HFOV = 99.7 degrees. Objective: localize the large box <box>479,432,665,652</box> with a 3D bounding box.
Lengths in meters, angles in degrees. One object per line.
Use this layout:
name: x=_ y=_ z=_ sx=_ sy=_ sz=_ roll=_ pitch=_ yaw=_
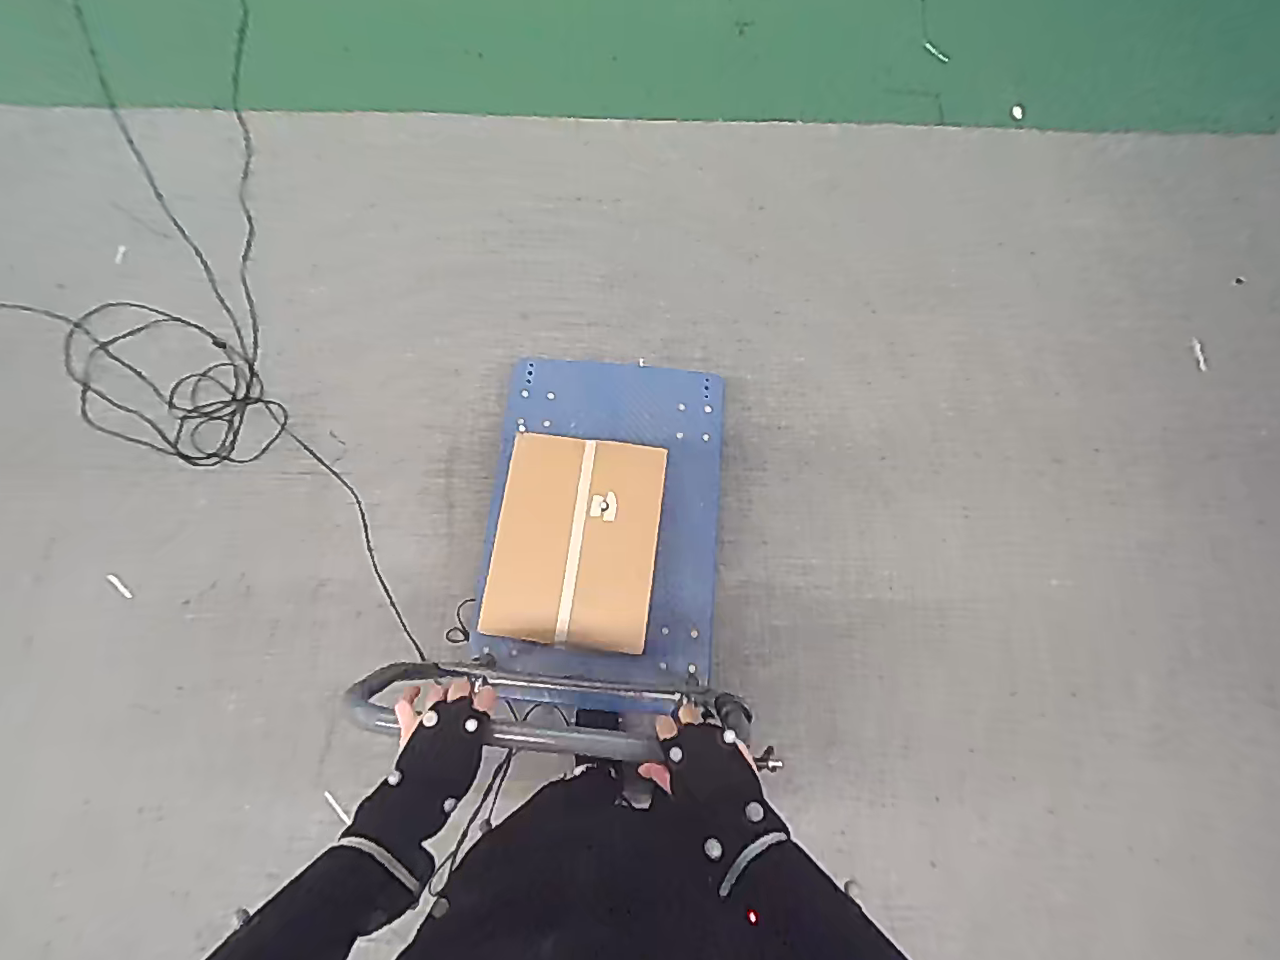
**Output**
large box: x=-0.123 y=0.149 z=1.181 sx=0.320 sy=0.320 sz=0.408 roll=8 pitch=75 yaw=1
